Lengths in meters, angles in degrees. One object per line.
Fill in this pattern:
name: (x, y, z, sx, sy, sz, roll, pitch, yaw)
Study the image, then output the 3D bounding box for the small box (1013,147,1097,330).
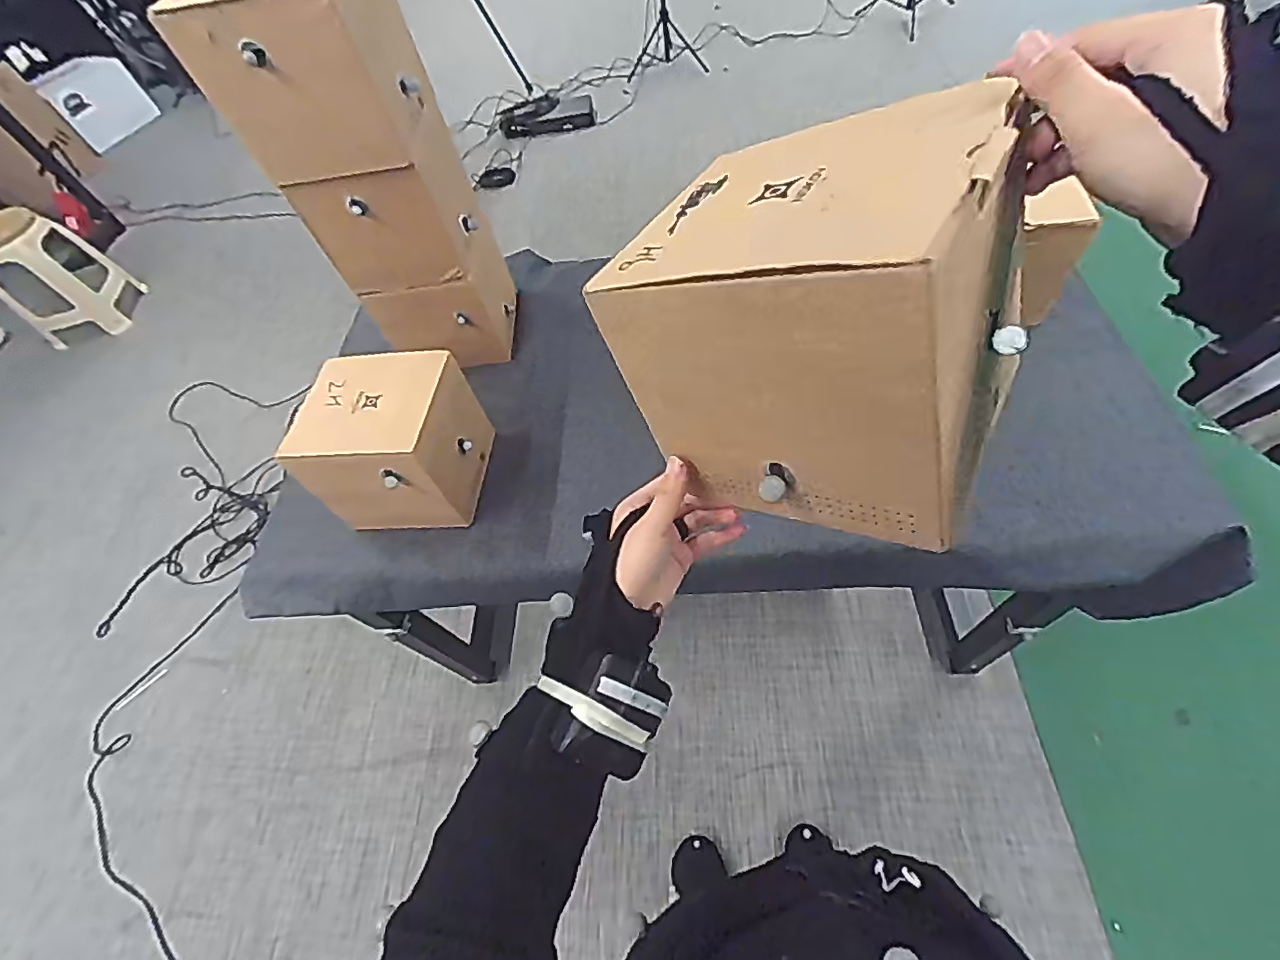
small box: (0.481, -0.333, 0.765, 0.168, 0.176, 0.179, -2, 59, 9)

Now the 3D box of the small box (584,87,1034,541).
small box: (0.107, -0.086, 0.323, 0.179, 0.176, 0.168, 13, 53, 40)

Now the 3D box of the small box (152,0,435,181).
small box: (-0.358, -0.458, 0.599, 0.179, 0.176, 0.168, -5, 59, 5)

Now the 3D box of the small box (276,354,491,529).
small box: (-0.317, -0.045, 0.715, 0.179, 0.176, 0.168, -2, 55, 8)

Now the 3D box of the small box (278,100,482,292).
small box: (-0.339, -0.381, 0.743, 0.179, 0.176, 0.168, -6, 59, 4)
